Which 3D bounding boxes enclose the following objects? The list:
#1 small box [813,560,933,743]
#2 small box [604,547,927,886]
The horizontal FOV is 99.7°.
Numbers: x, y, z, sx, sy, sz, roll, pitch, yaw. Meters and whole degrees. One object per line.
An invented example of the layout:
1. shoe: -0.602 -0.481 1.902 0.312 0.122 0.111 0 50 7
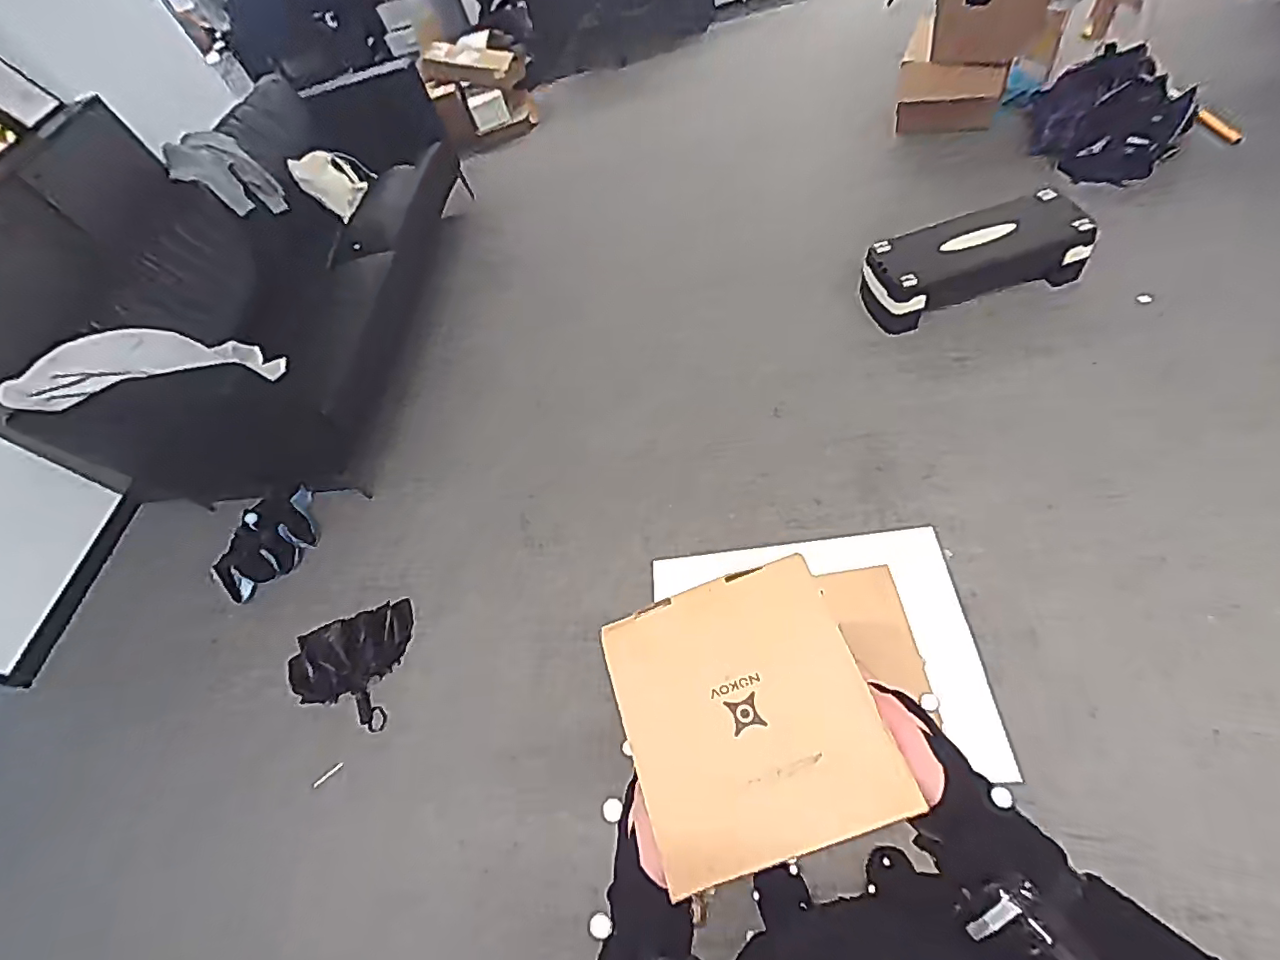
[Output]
1. small box: 0.224 0.220 0.647 0.168 0.176 0.179 -11 54 9
2. small box: 0.089 0.184 0.436 0.168 0.176 0.179 -23 61 3
